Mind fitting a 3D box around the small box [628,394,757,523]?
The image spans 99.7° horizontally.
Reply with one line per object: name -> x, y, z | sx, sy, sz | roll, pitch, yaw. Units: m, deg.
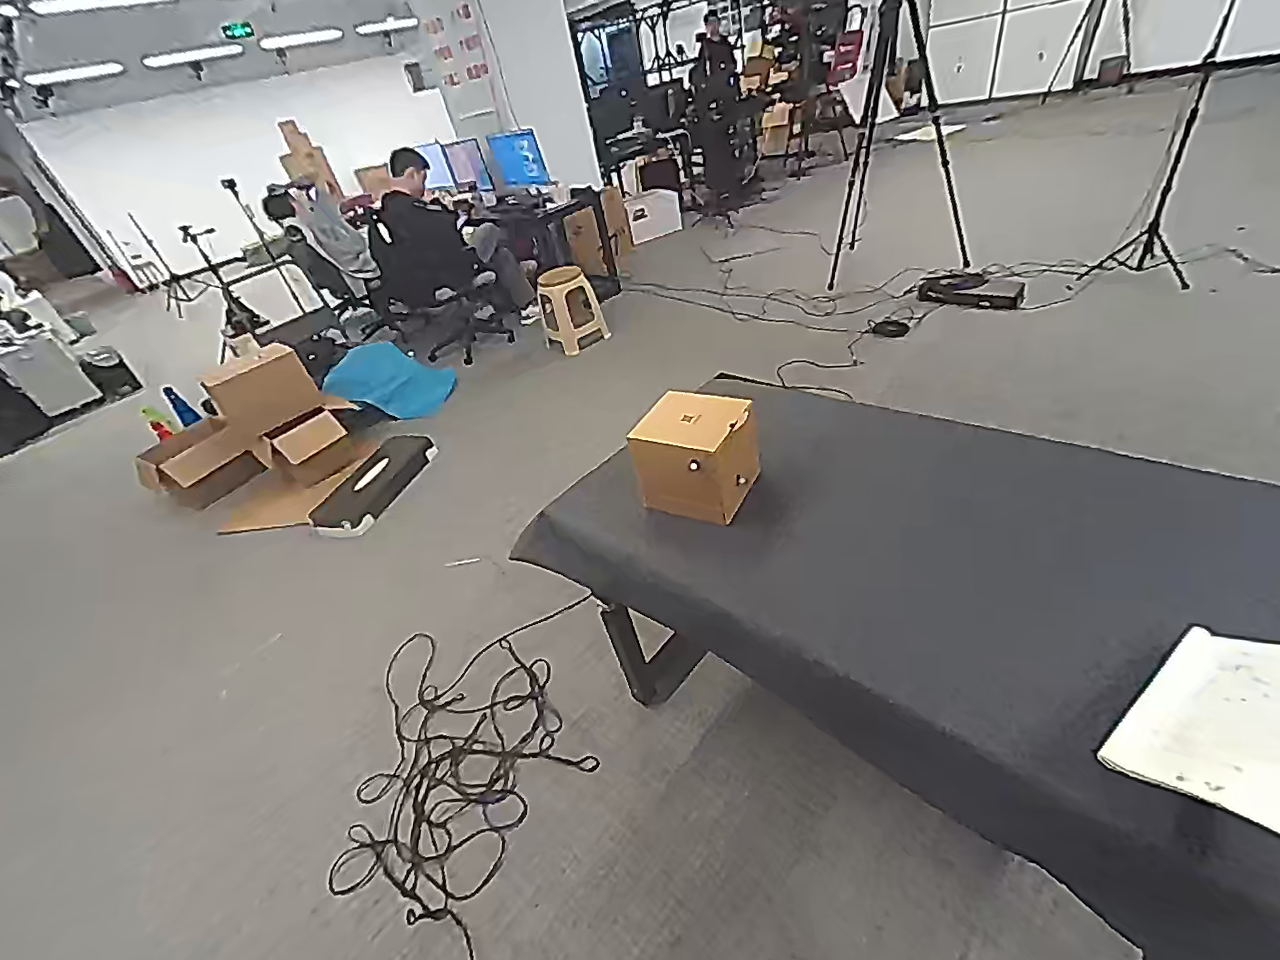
small box -> 0.104, -0.042, 1.003 | 0.179, 0.176, 0.168 | 12, 43, 30
